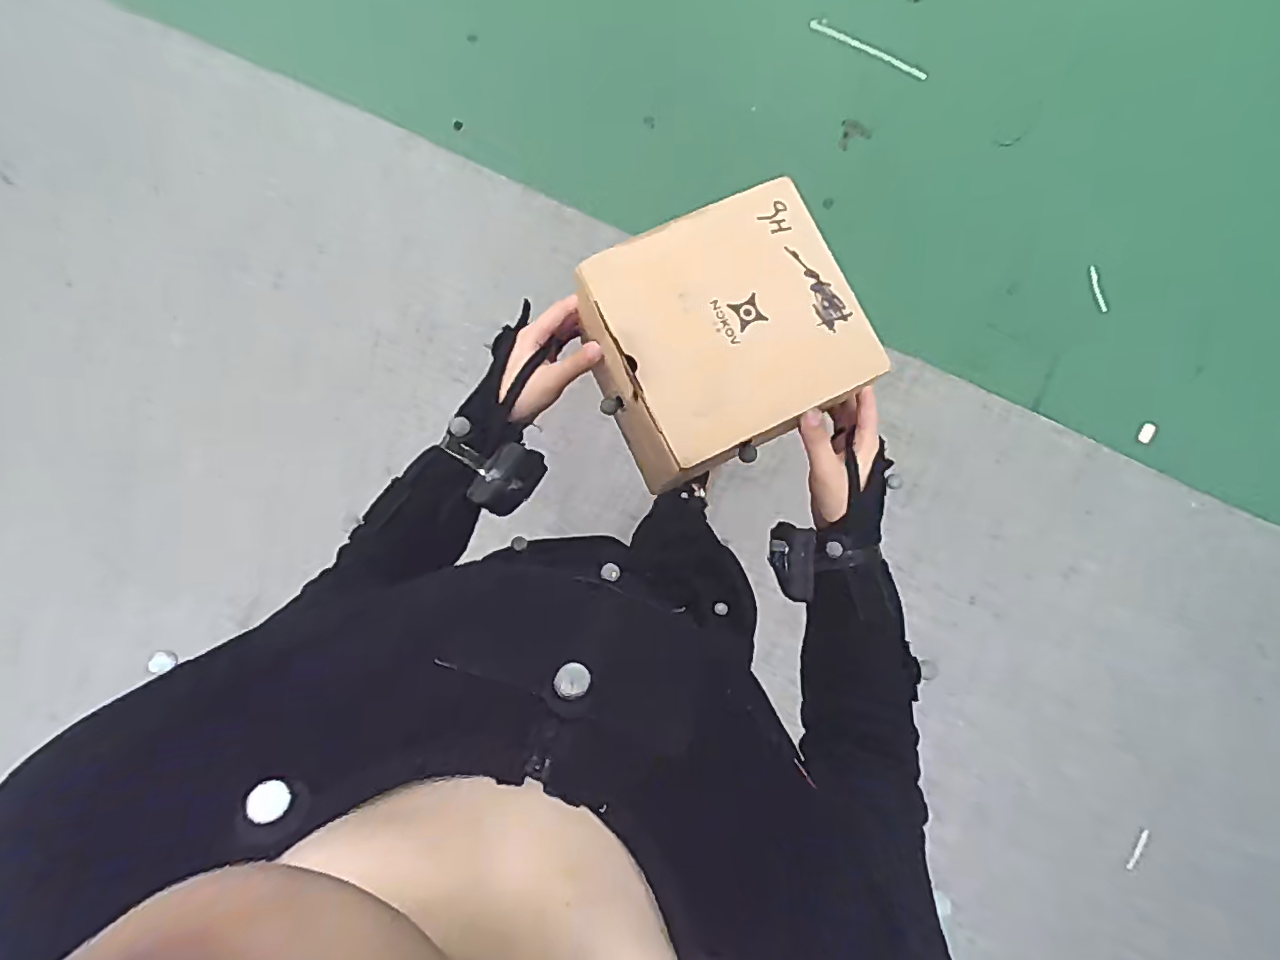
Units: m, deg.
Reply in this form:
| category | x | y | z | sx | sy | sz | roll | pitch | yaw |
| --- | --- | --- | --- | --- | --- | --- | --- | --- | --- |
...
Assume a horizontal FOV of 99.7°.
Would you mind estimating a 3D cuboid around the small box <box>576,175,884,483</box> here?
| category | x | y | z | sx | sy | sz | roll | pitch | yaw |
| --- | --- | --- | --- | --- | --- | --- | --- | --- | --- |
| small box | 0.061 | -0.109 | 0.465 | 0.179 | 0.176 | 0.168 | -26 | 86 | -6 |
